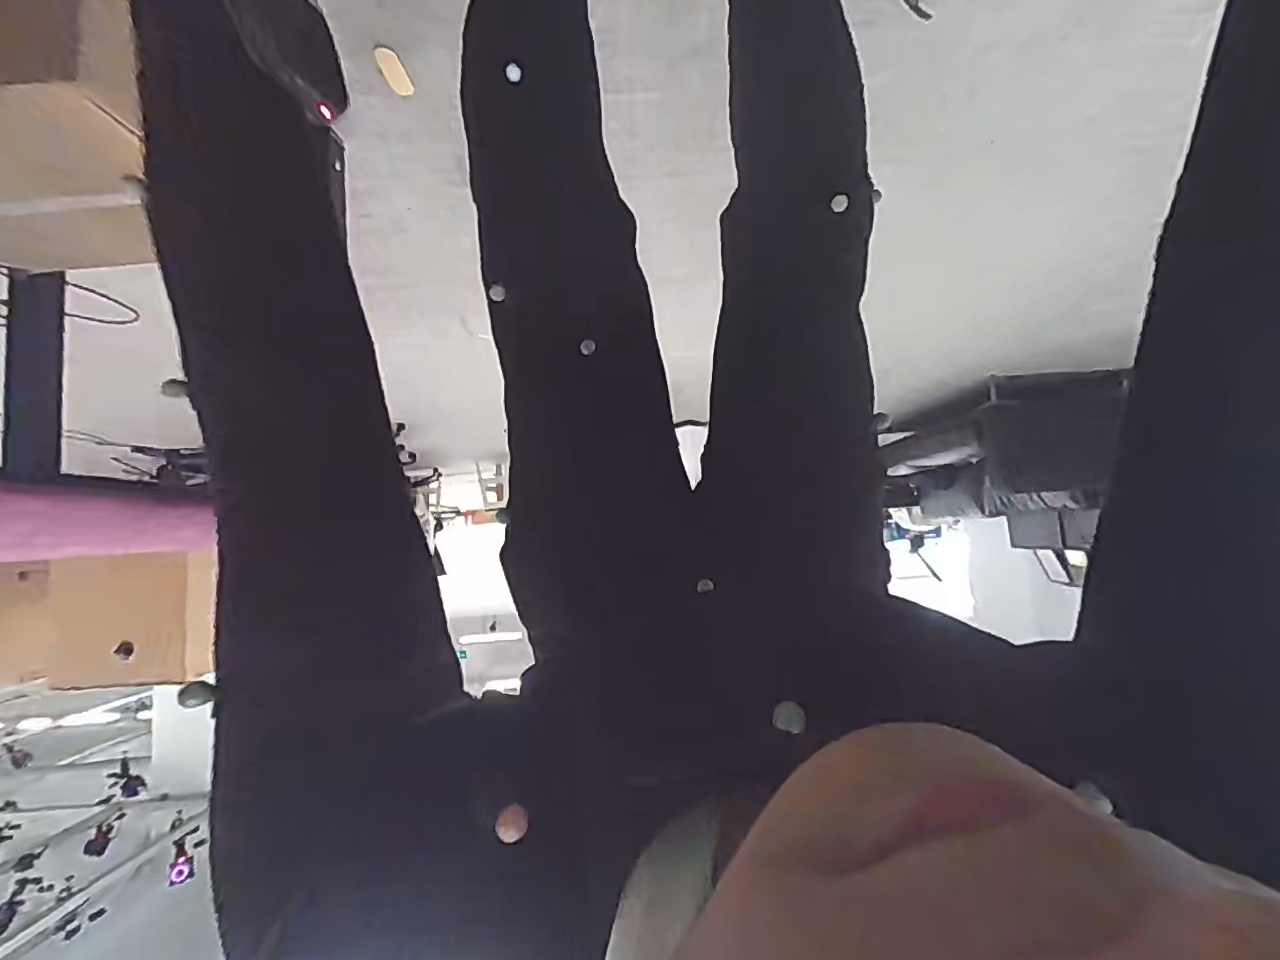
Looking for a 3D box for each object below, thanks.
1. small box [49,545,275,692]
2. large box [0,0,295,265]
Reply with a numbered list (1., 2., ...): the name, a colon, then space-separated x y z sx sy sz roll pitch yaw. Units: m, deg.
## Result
1. small box: -0.641 0.177 0.742 0.179 0.176 0.168 -3 174 1
2. large box: -0.714 -0.493 0.660 0.408 0.320 0.320 -3 174 1
